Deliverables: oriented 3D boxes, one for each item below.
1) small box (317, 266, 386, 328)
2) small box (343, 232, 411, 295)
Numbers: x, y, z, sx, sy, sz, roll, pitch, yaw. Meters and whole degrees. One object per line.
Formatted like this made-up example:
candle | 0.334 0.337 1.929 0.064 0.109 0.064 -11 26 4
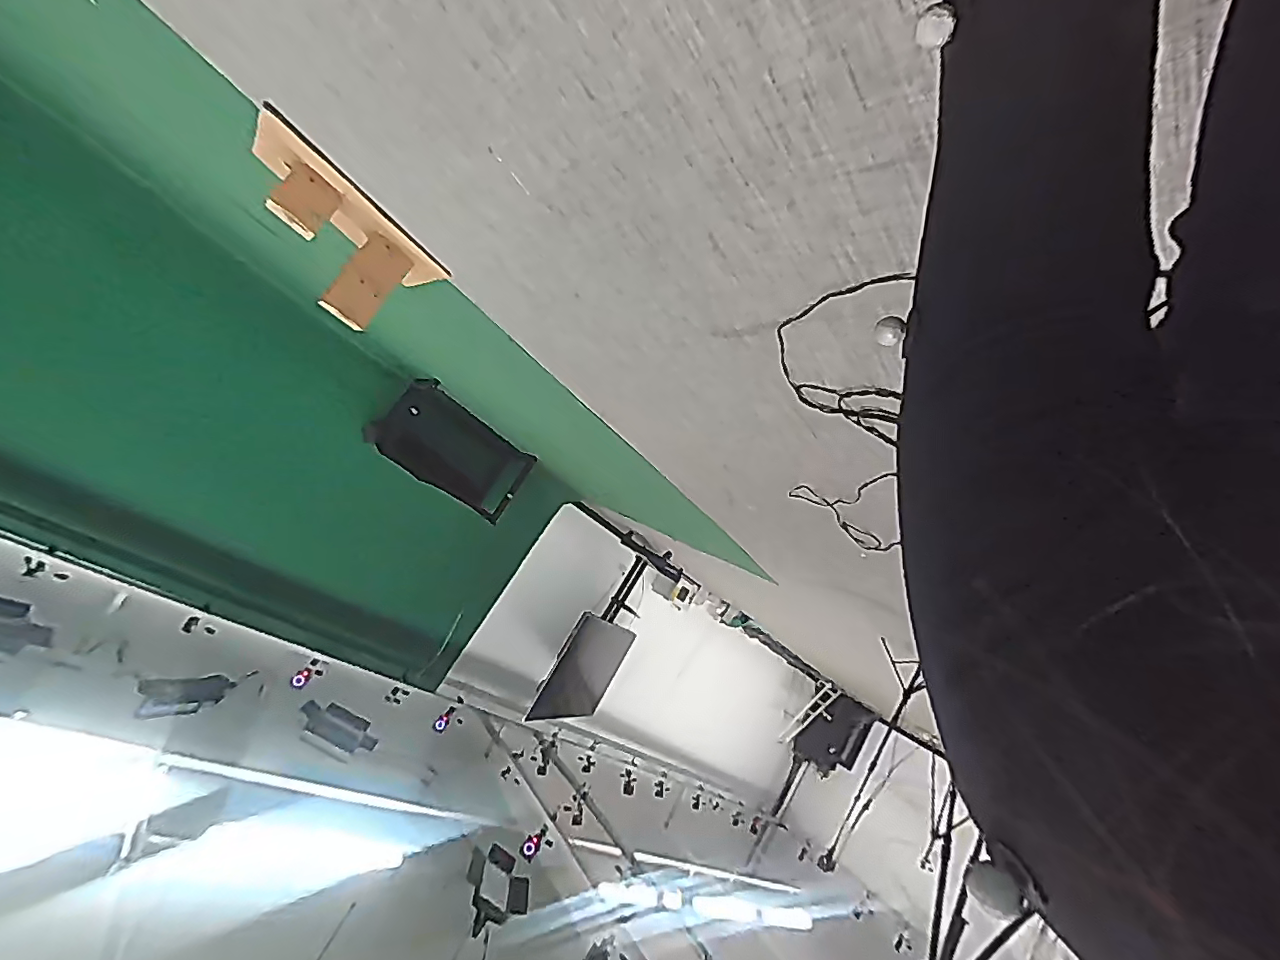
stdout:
small box | -1.126 -0.715 2.115 0.168 0.176 0.179 40 168 -38
small box | -1.040 -0.853 2.142 0.168 0.176 0.179 39 167 -37
